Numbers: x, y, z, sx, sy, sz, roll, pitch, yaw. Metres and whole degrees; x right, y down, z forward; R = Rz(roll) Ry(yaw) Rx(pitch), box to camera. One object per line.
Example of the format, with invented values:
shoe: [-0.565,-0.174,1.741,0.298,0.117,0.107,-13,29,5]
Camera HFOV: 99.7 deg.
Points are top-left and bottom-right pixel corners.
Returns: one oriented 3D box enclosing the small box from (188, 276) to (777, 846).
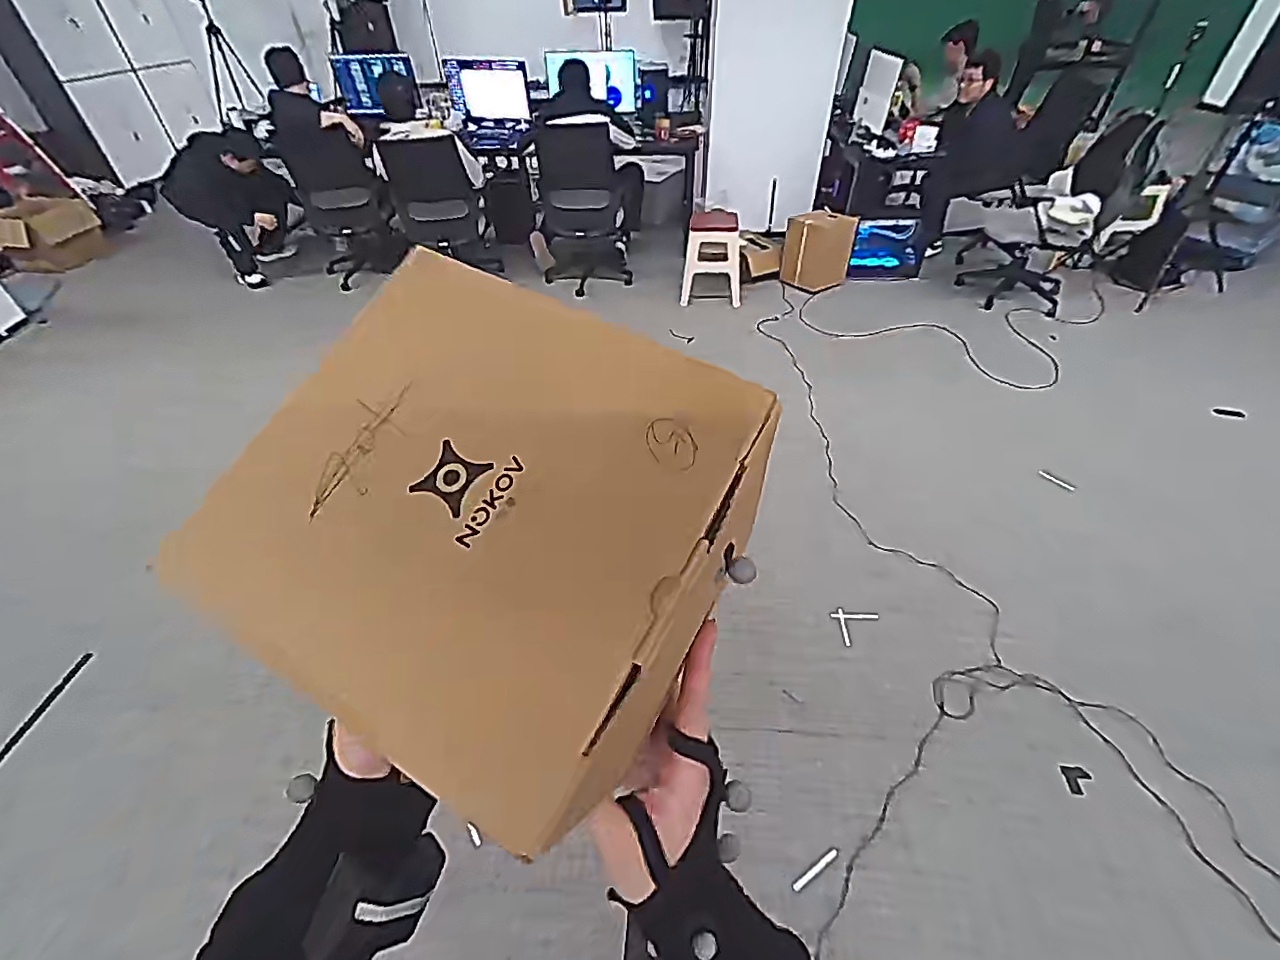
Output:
small box: [-0.050,0.036,0.278,0.179,0.176,0.168,24,73,16]
